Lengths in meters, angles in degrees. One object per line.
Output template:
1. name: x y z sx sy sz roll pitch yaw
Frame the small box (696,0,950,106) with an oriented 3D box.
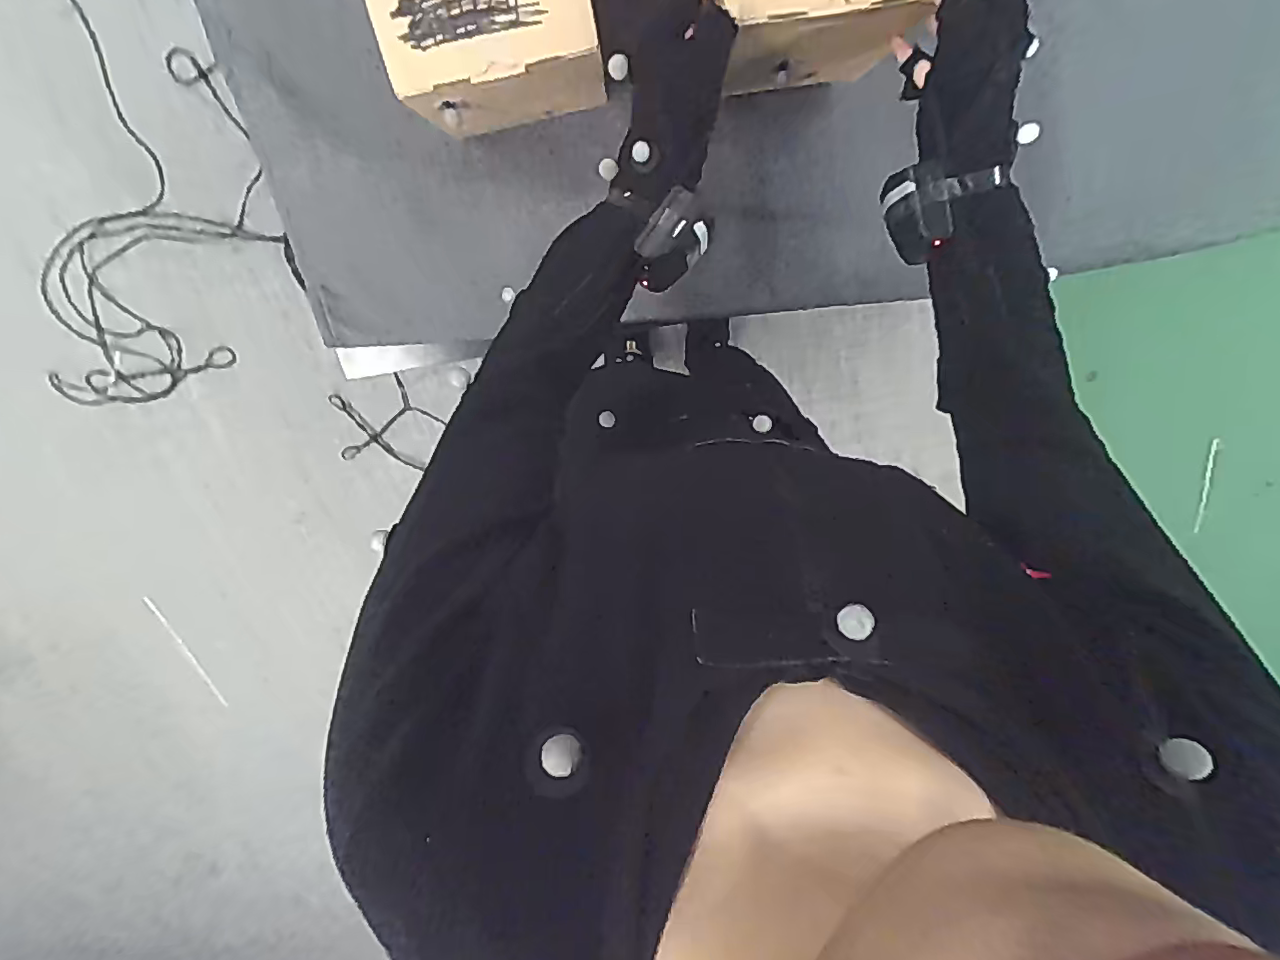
1. small box: 0.133 -0.441 0.441 0.168 0.176 0.179 -7 110 3
